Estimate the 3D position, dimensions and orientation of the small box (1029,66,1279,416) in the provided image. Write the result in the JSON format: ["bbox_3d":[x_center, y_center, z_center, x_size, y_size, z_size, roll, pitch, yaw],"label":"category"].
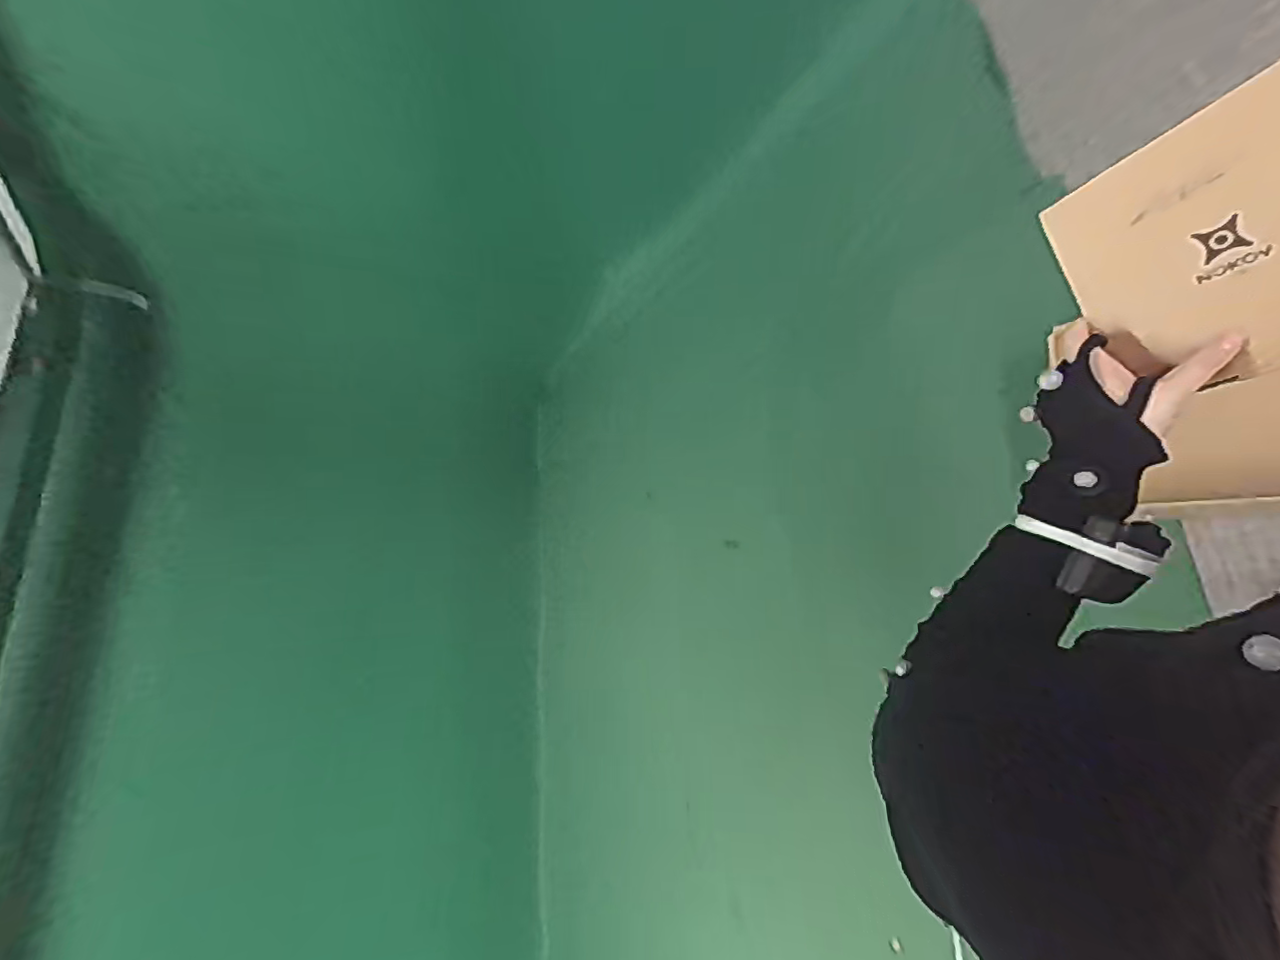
[{"bbox_3d":[0.447,-0.168,0.402,0.168,0.176,0.179,-30,77,58],"label":"small box"}]
